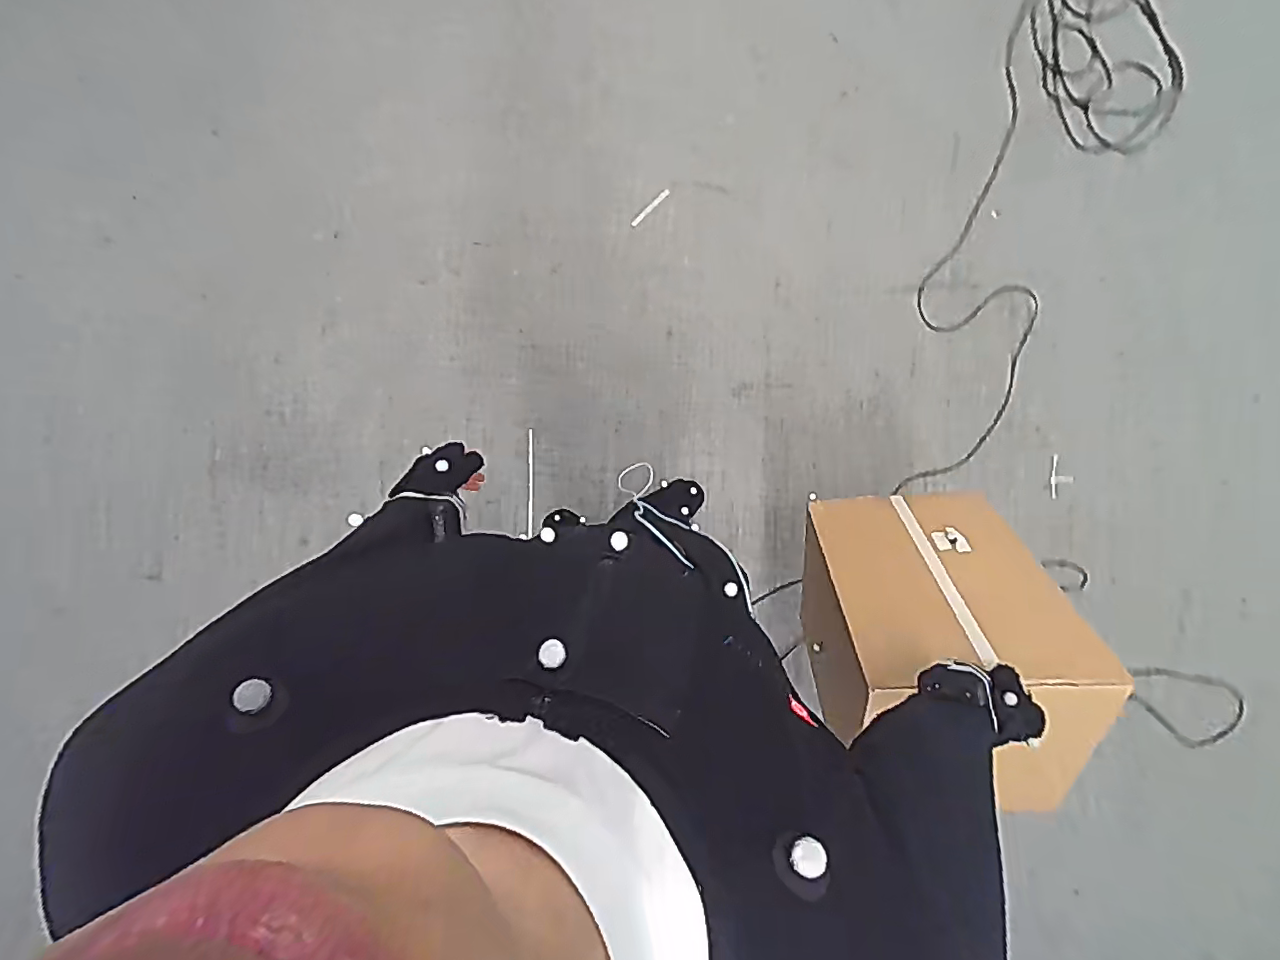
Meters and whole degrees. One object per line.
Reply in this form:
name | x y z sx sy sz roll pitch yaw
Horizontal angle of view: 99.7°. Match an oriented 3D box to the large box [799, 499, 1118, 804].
large box | 0.472 0.276 0.929 0.320 0.408 0.320 -2 123 6
